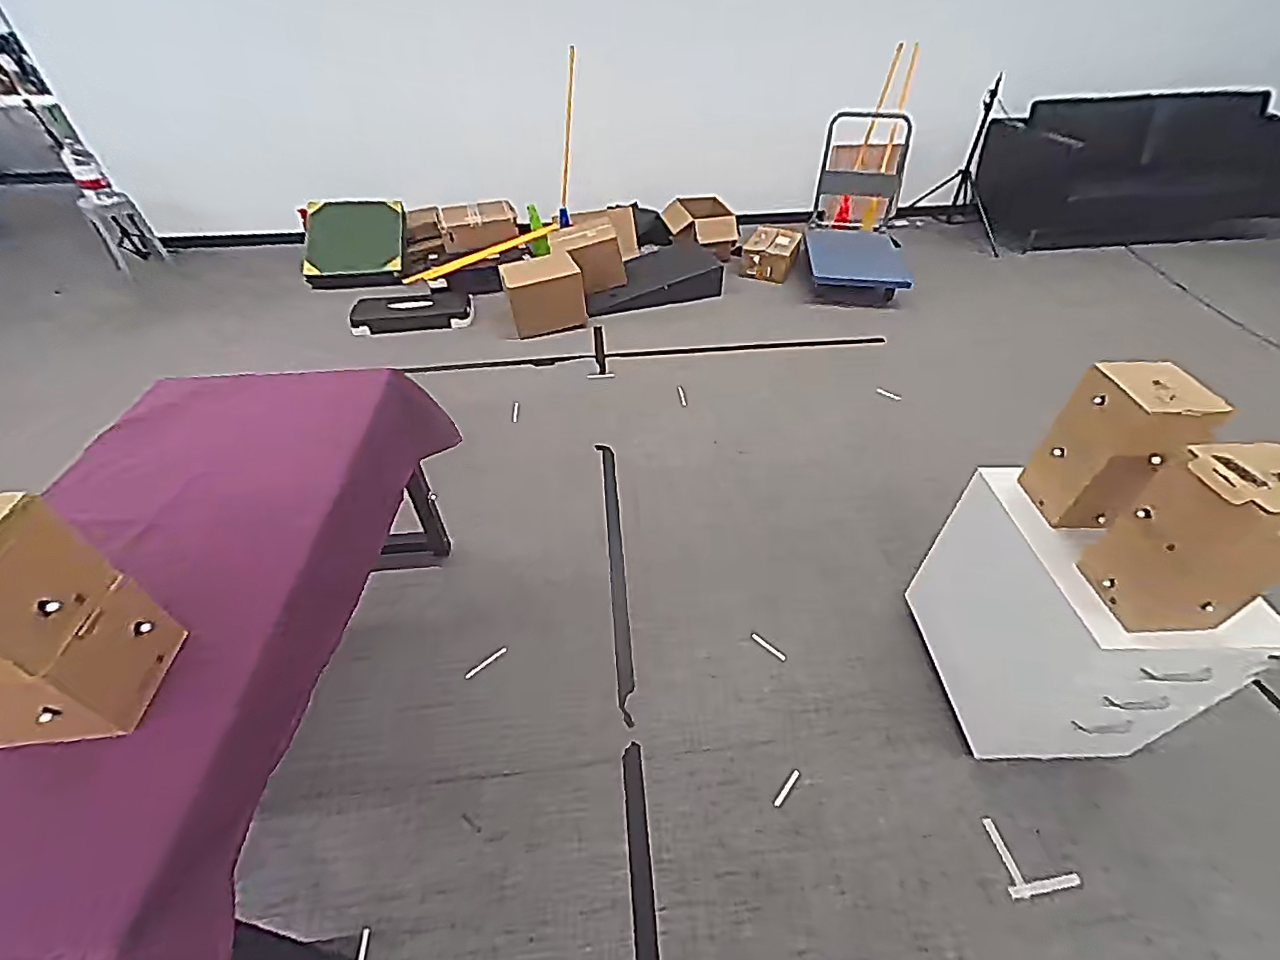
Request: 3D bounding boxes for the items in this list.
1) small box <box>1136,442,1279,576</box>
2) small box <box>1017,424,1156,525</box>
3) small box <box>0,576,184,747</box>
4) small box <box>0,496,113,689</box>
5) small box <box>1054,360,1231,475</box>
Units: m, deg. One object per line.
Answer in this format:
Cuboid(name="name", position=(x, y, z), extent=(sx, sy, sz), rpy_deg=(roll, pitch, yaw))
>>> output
Cuboid(name="small box", position=(1.014, 0.052, 0.924), extent=(0.179, 0.176, 0.168), rpy_deg=(-1, 43, -2))
Cuboid(name="small box", position=(1.015, -0.010, 1.226), extent=(0.179, 0.176, 0.168), rpy_deg=(1, 43, -1))
Cuboid(name="small box", position=(-0.809, 0.256, 0.763), extent=(0.179, 0.176, 0.168), rpy_deg=(-5, 43, -4))
Cuboid(name="small box", position=(-0.816, 0.141, 0.648), extent=(0.179, 0.176, 0.168), rpy_deg=(-5, 43, -7))
Cuboid(name="small box", position=(1.010, -0.129, 1.112), extent=(0.168, 0.176, 0.179), rpy_deg=(-1, 44, 0))
